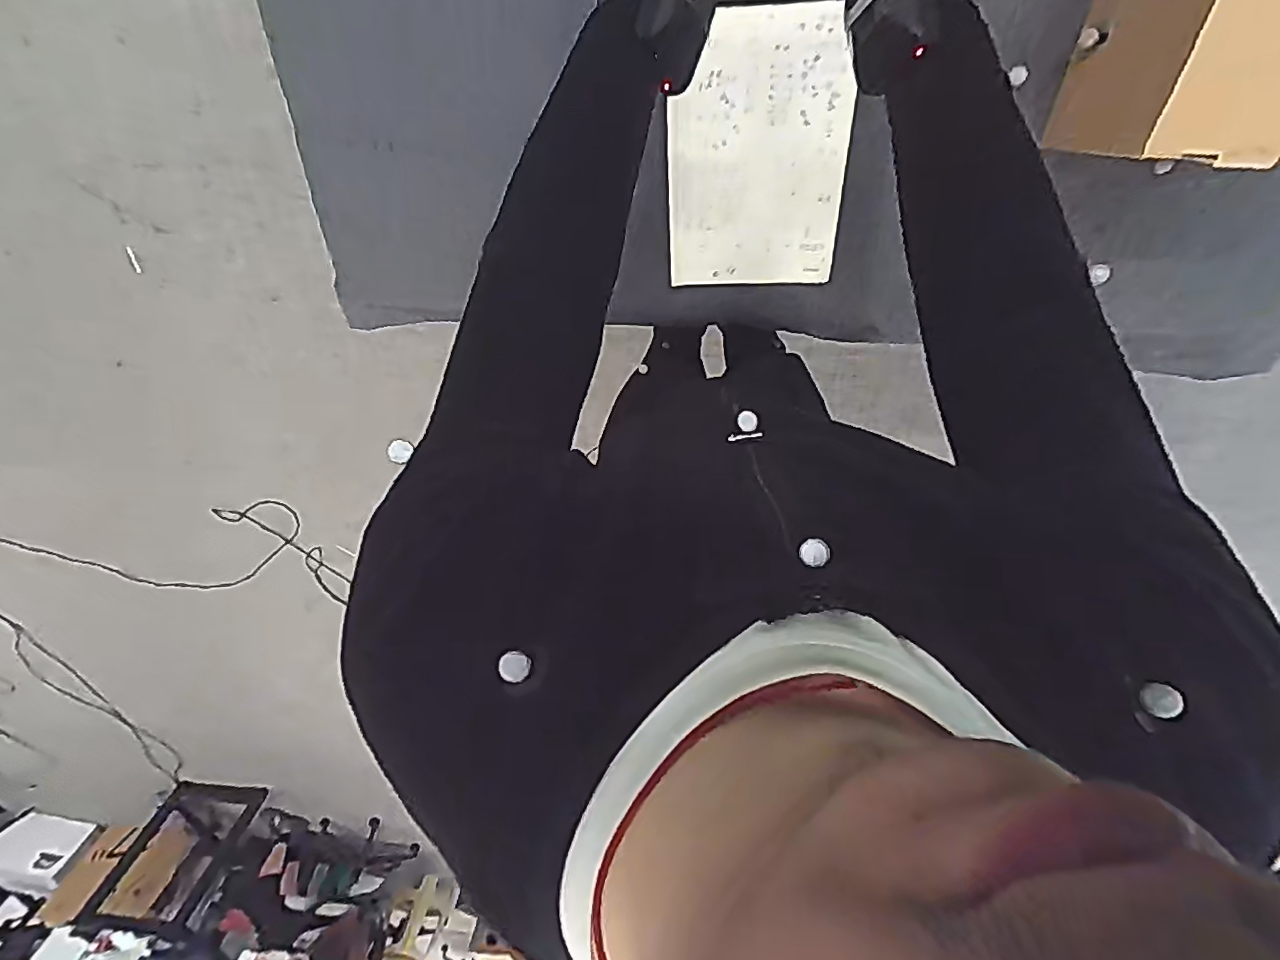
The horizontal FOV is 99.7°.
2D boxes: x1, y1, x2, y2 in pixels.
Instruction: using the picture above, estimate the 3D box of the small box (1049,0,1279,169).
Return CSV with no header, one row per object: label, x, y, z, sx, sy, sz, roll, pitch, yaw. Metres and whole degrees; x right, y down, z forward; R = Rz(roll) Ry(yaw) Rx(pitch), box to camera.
small box,0.496,-0.375,0.458,0.168,0.176,0.179,4,126,4
